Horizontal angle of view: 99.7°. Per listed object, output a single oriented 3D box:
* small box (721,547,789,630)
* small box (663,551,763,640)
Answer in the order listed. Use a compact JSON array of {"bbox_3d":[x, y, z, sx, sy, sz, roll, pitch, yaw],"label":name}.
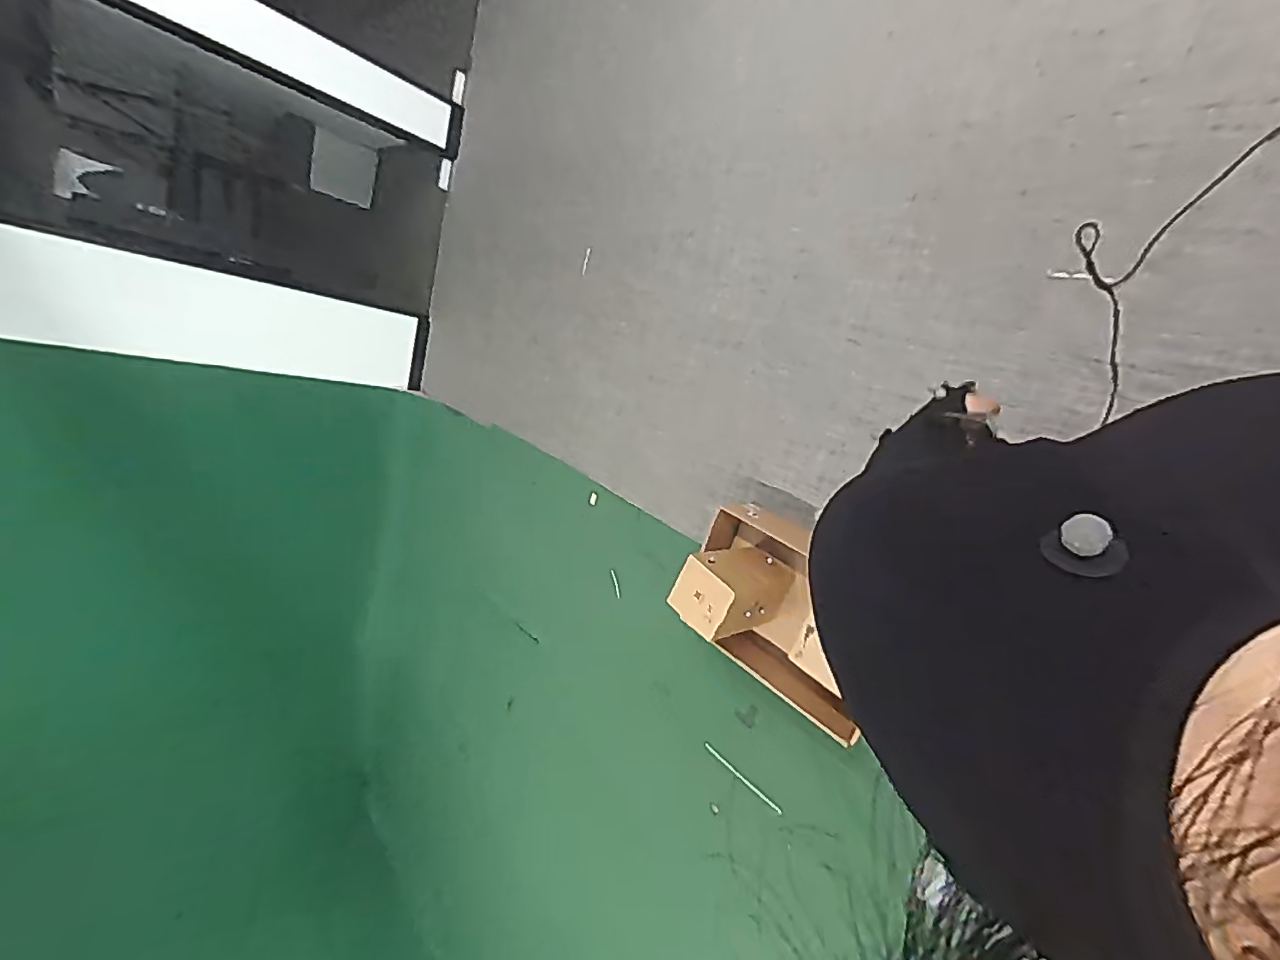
[{"bbox_3d":[0.313,0.317,1.612,0.168,0.176,0.179,37,112,36],"label":"small box"},{"bbox_3d":[0.203,0.309,1.490,0.179,0.176,0.168,38,114,36],"label":"small box"}]
